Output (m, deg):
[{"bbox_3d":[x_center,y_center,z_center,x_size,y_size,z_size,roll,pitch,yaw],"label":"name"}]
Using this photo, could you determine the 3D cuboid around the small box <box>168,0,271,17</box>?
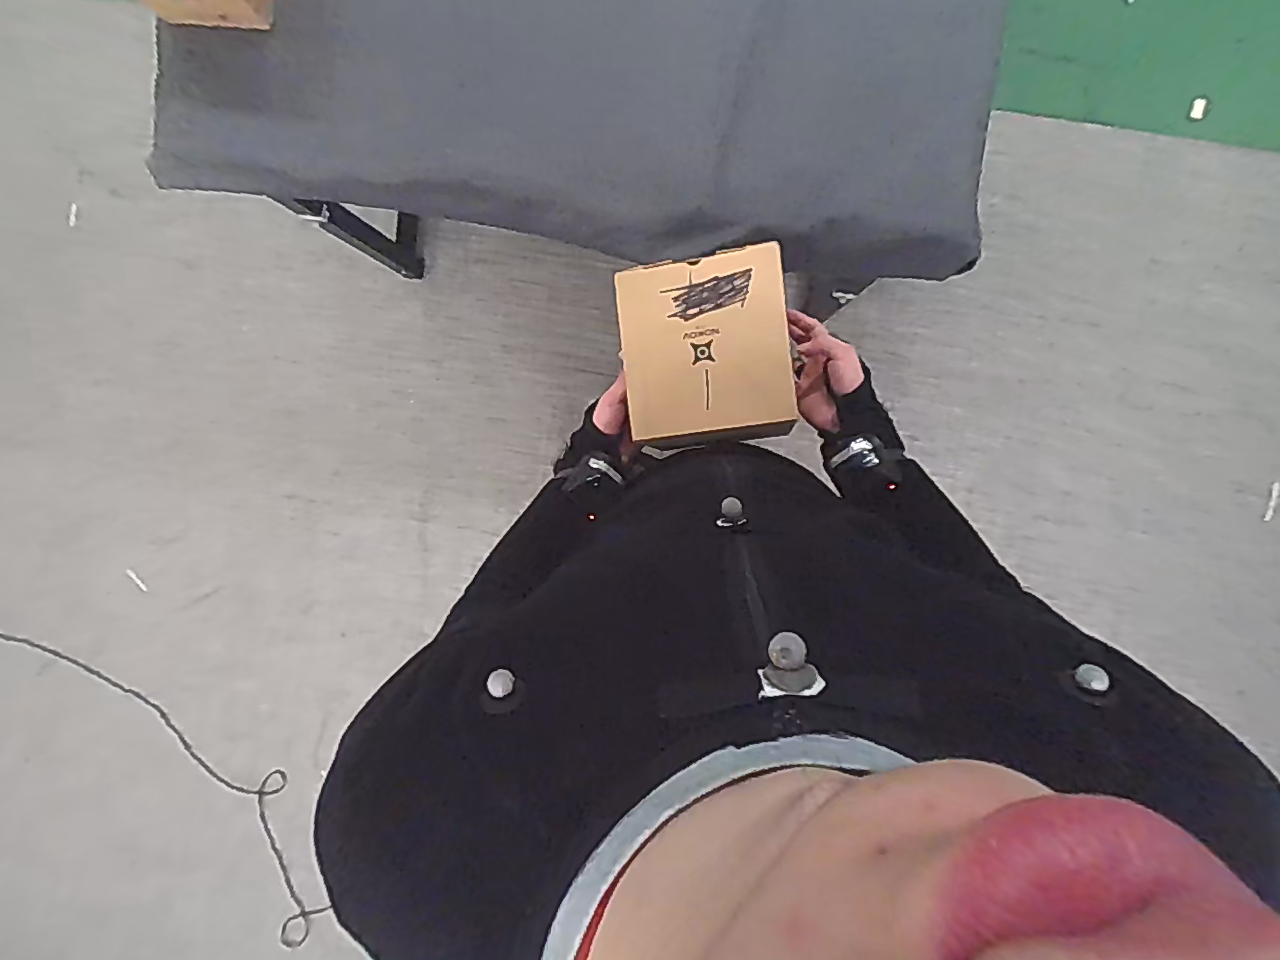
[{"bbox_3d":[-0.616,-0.765,0.714,0.168,0.176,0.179,6,96,2],"label":"small box"}]
